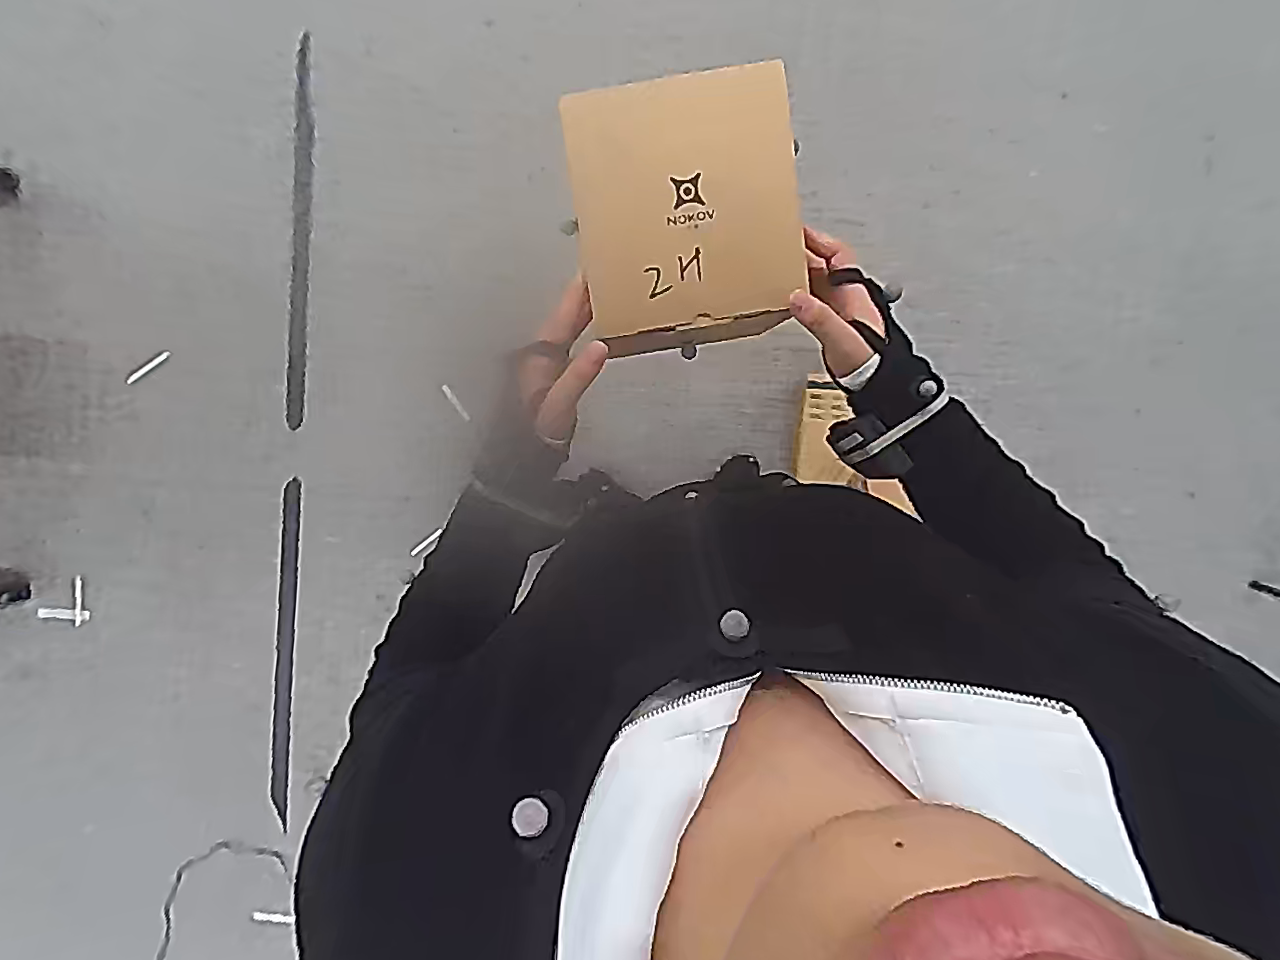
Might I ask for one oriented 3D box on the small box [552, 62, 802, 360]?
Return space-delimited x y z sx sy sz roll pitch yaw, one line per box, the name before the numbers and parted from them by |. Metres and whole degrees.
small box | 0.027 -0.213 0.477 0.168 0.176 0.179 -10 98 1
